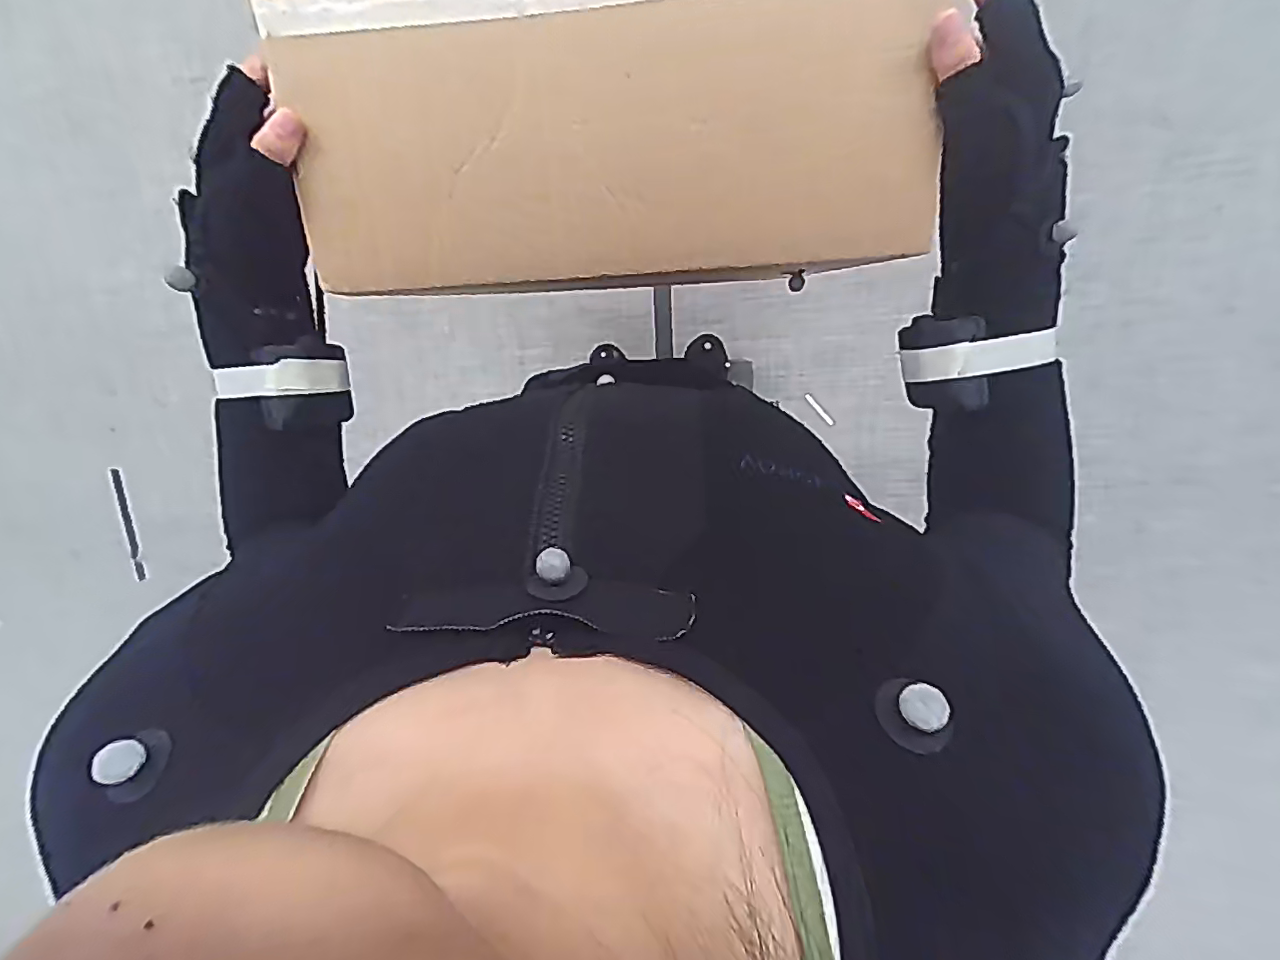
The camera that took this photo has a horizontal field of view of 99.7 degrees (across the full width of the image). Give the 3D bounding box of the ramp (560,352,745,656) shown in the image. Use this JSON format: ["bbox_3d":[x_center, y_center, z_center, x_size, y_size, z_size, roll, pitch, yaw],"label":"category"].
[{"bbox_3d":[0.067,0.131,1.623,0.509,0.206,0.991,-5,104,3],"label":"ramp"}]

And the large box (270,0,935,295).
[{"bbox_3d":[-0.018,-0.335,0.460,0.408,0.320,0.320,-3,108,3],"label":"large box"}]
